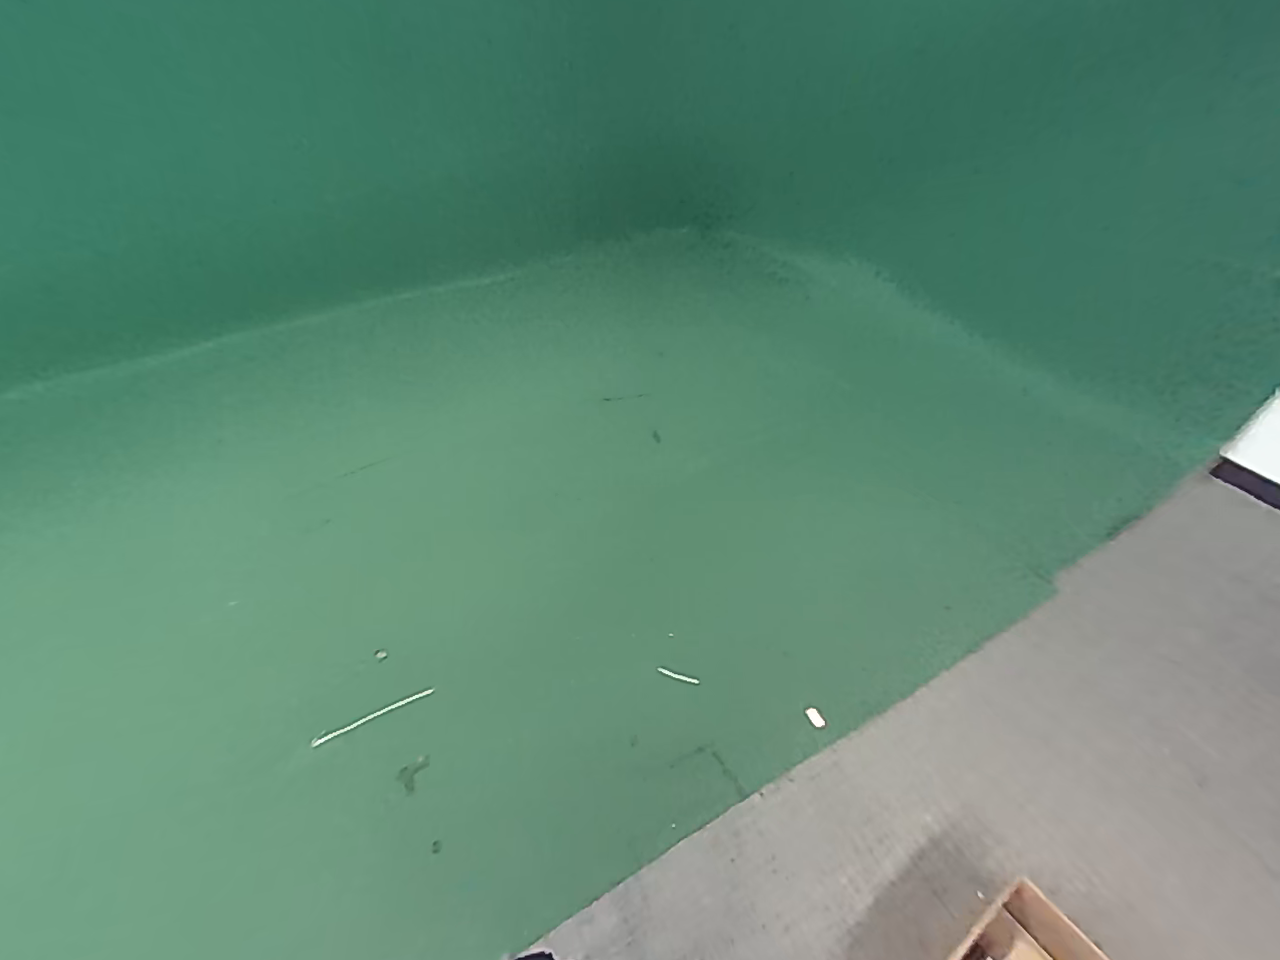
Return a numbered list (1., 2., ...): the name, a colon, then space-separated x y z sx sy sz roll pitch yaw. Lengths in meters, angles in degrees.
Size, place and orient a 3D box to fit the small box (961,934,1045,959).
1. small box: 0.651 0.933 0.928 0.168 0.176 0.179 -29 53 -24
